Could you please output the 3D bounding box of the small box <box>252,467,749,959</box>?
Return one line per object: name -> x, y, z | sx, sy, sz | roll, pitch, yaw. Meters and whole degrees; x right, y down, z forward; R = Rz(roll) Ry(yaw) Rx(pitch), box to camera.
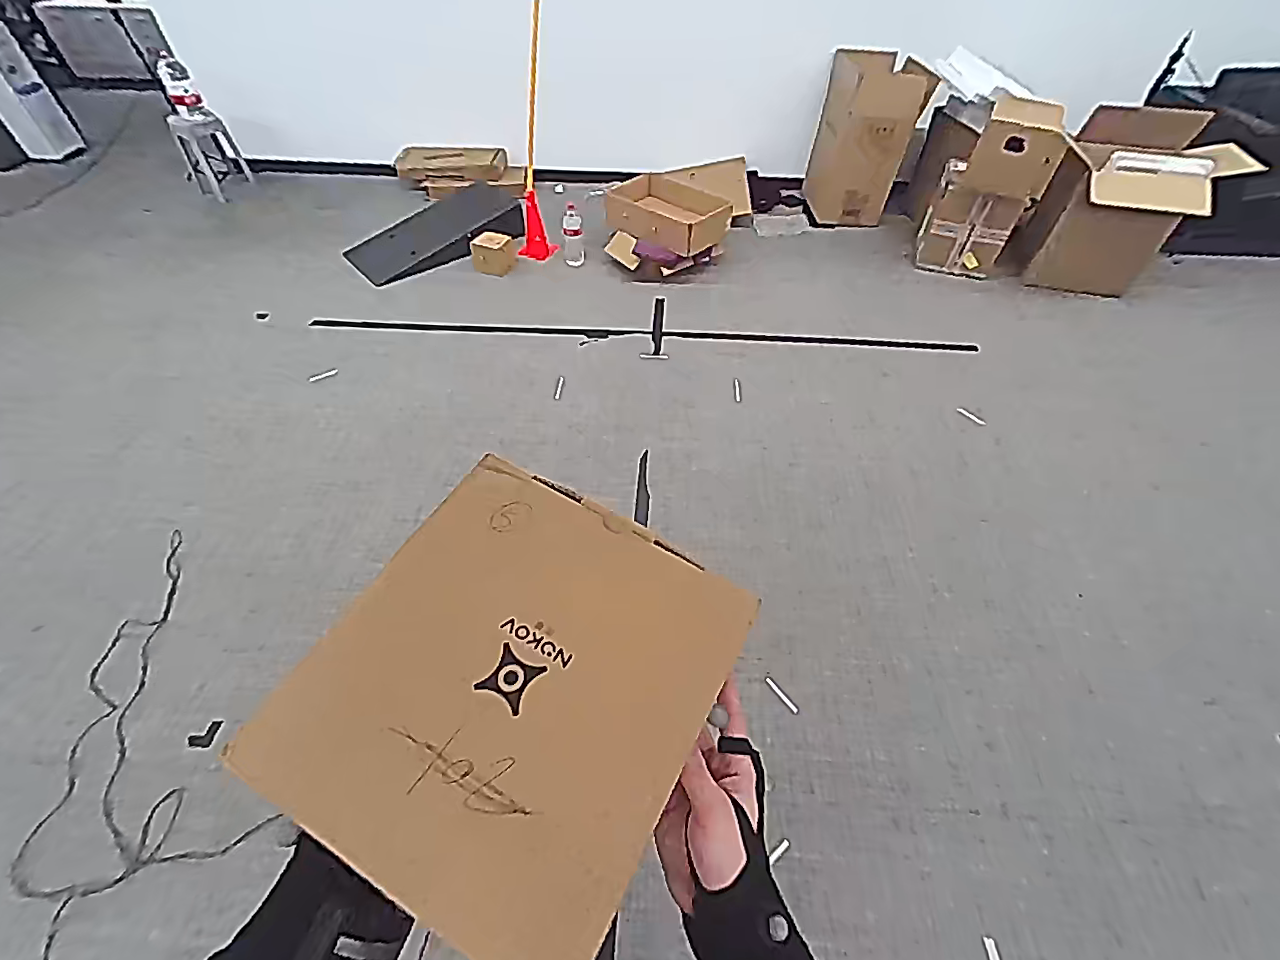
small box -> -0.058, 0.131, 0.318 | 0.168, 0.176, 0.179 | 25, 61, 13
